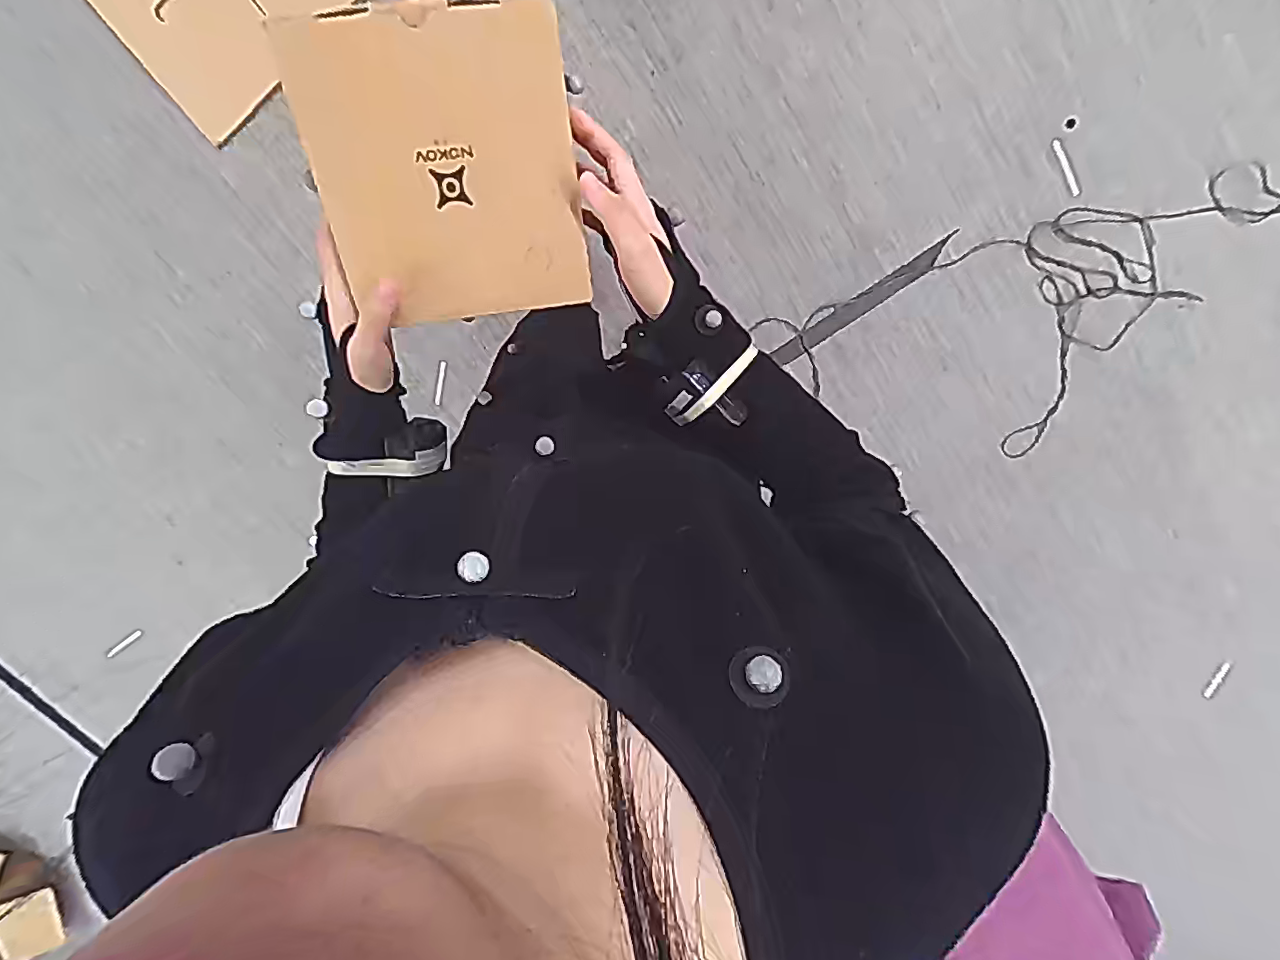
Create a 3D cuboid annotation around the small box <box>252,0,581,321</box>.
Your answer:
[{"bbox_3d":[-0.137,-0.233,0.413,0.168,0.176,0.179,-8,117,-4],"label":"small box"}]
